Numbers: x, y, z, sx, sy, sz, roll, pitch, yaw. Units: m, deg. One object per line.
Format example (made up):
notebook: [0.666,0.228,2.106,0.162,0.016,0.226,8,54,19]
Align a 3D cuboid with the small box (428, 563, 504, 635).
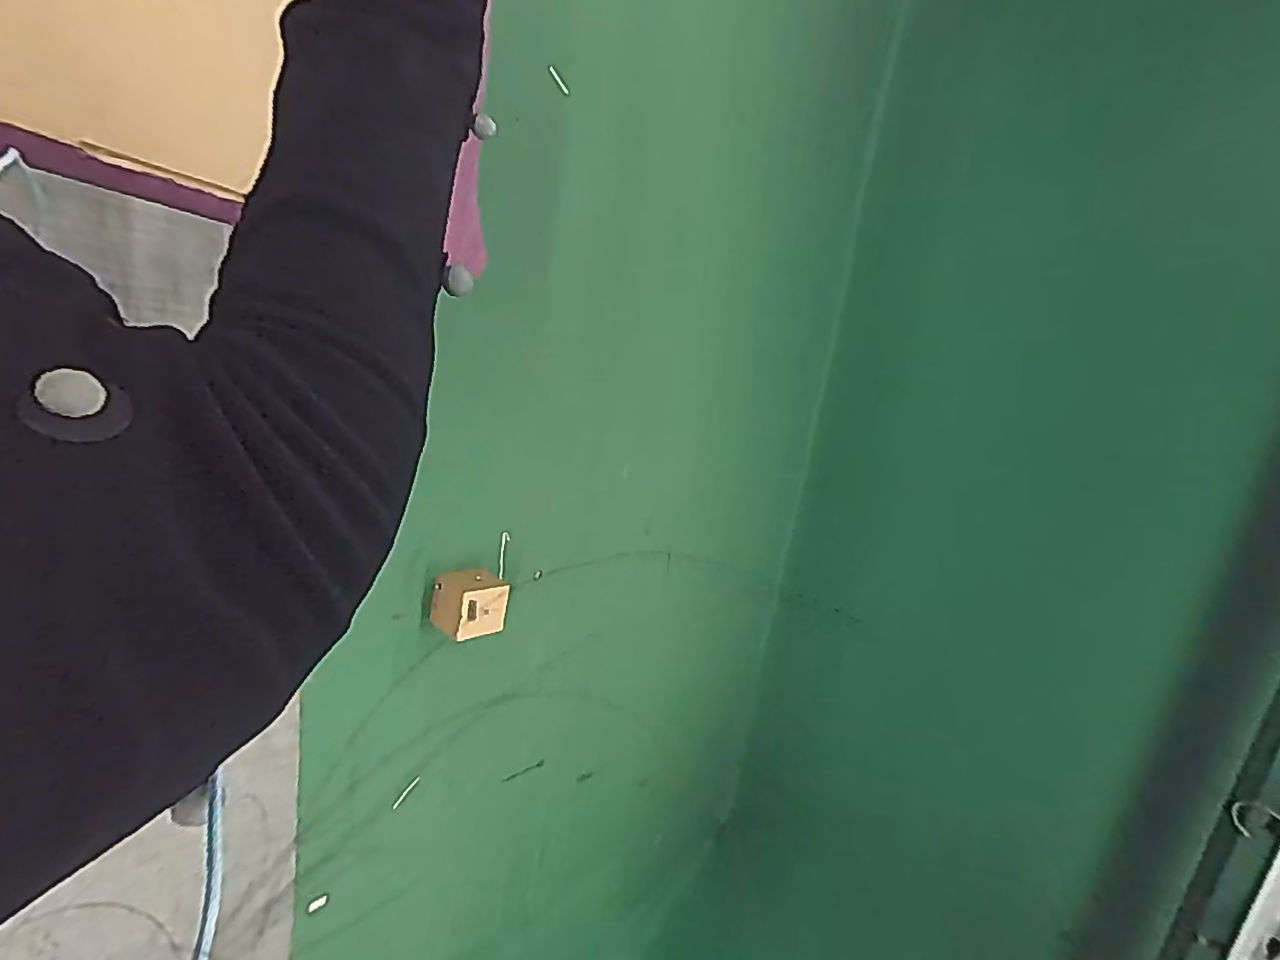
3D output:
small box: [-0.580,0.387,1.790,0.179,0.176,0.168,-4,107,-49]
